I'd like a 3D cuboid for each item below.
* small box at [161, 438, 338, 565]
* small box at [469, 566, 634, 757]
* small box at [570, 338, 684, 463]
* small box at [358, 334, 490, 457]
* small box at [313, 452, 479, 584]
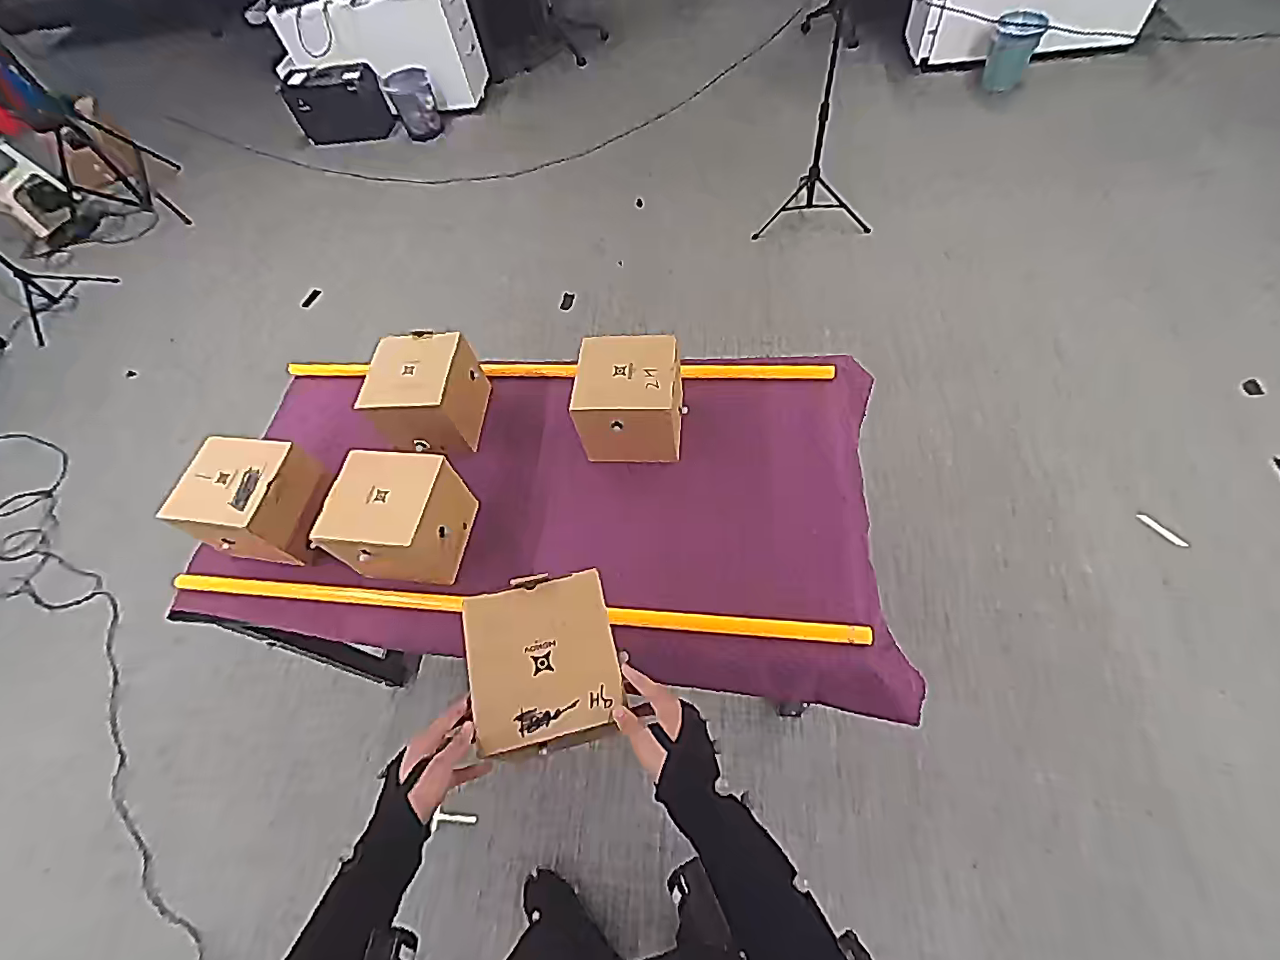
[{"bbox_3d":[-0.677,0.043,0.974,0.179,0.176,0.168,5,60,10],"label":"small box"},{"bbox_3d":[-0.107,0.232,0.678,0.168,0.176,0.179,-12,61,-7],"label":"small box"},{"bbox_3d":[-0.014,-0.142,0.997,0.179,0.176,0.168,1,61,9],"label":"small box"},{"bbox_3d":[-0.410,-0.162,1.065,0.168,0.176,0.179,-1,60,8],"label":"small box"},{"bbox_3d":[-0.400,0.069,0.925,0.179,0.176,0.168,3,59,10],"label":"small box"}]
